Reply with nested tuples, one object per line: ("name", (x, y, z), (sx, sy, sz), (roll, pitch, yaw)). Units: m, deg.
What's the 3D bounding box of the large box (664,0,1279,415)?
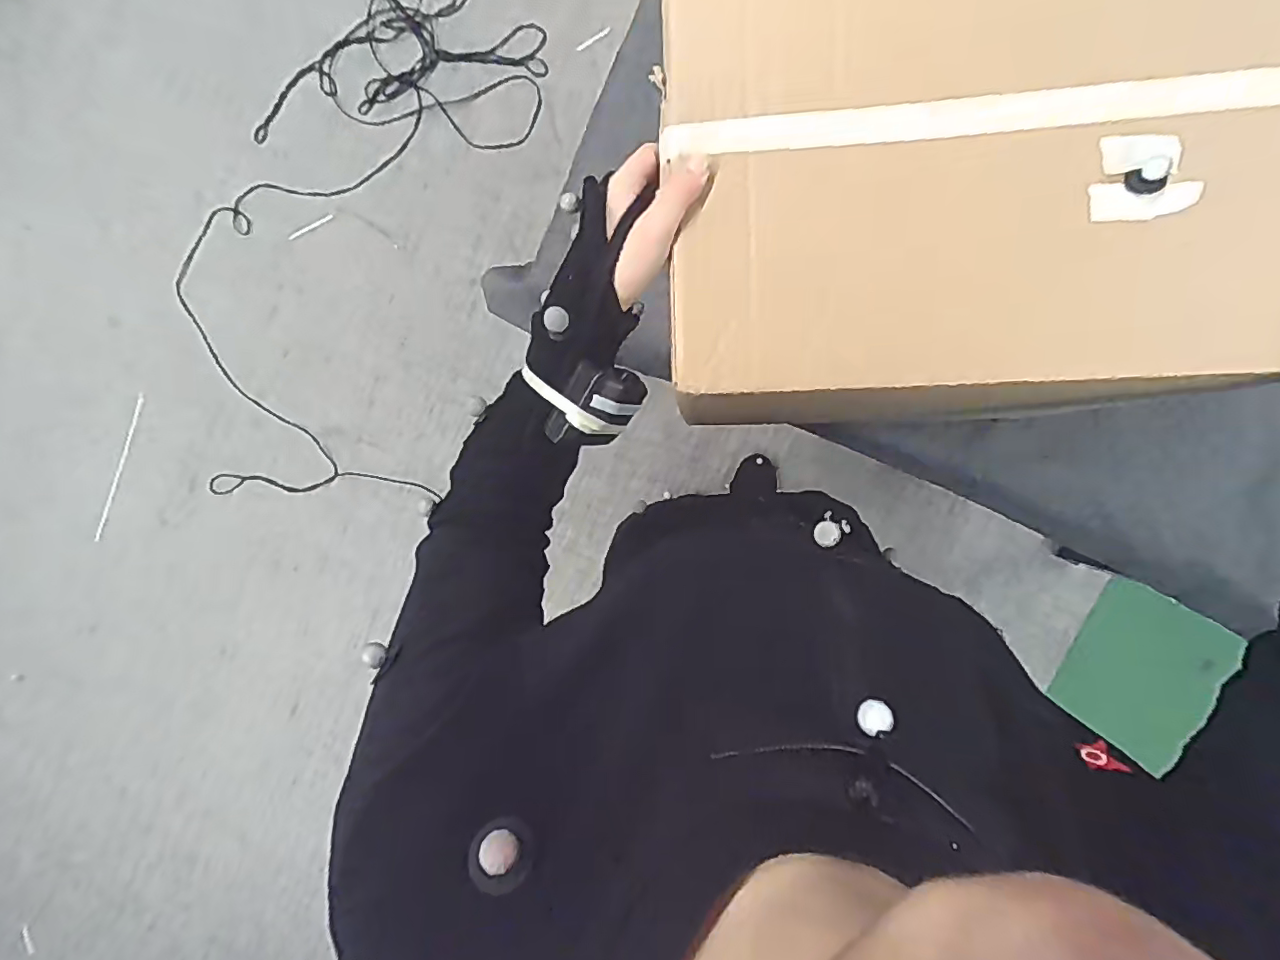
("large box", (0.232, -0.233, 0.473), (0.408, 0.320, 0.320), (-2, 93, 5))
